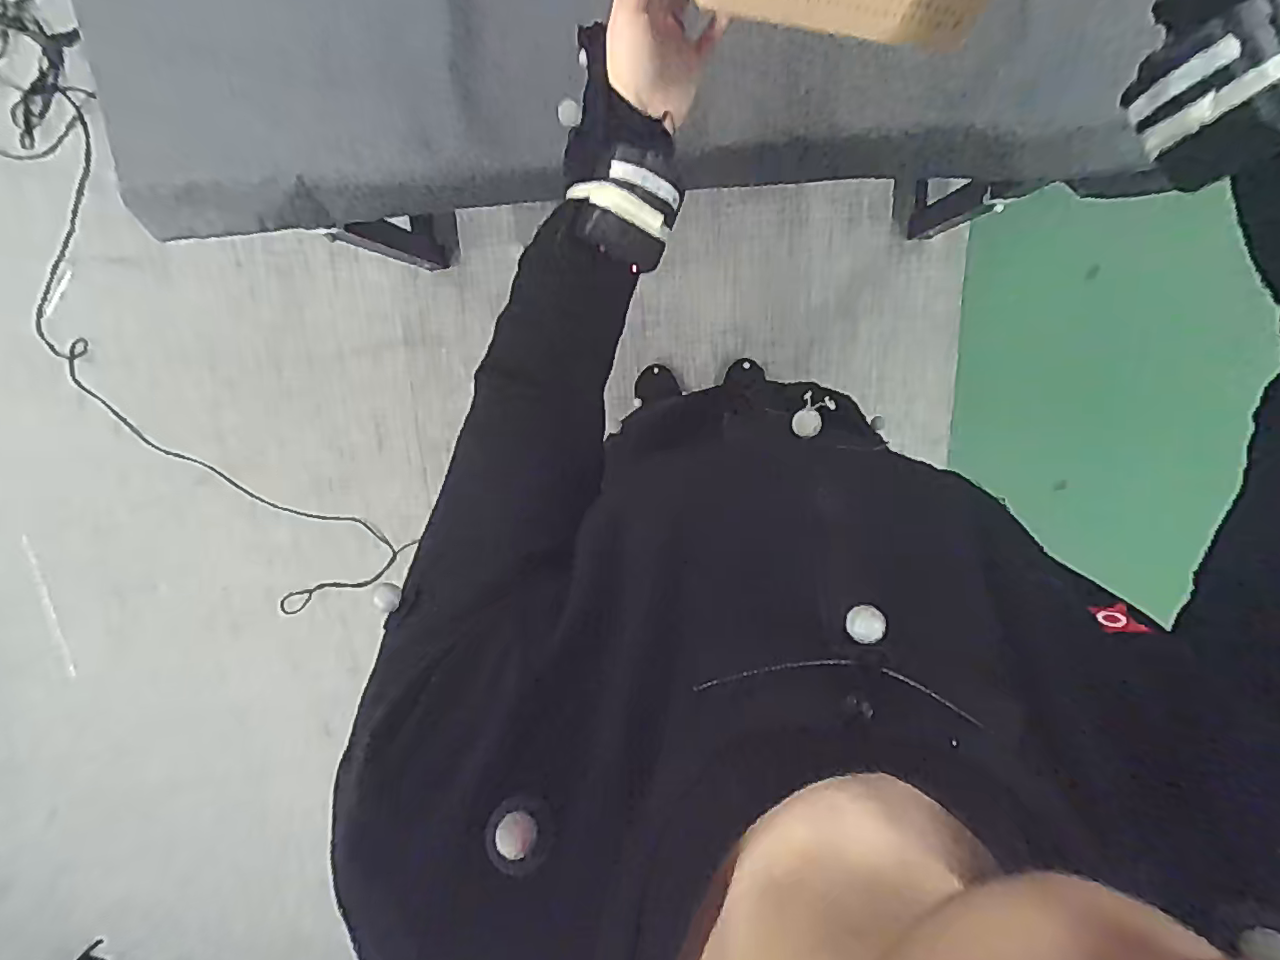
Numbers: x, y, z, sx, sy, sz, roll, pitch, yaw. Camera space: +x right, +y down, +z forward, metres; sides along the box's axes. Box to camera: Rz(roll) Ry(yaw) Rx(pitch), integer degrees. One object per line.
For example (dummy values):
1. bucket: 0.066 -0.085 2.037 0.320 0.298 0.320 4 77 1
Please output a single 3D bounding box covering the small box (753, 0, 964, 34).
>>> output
1. small box: 0.111 -0.366 0.272 0.179 0.176 0.168 -6 62 -18
